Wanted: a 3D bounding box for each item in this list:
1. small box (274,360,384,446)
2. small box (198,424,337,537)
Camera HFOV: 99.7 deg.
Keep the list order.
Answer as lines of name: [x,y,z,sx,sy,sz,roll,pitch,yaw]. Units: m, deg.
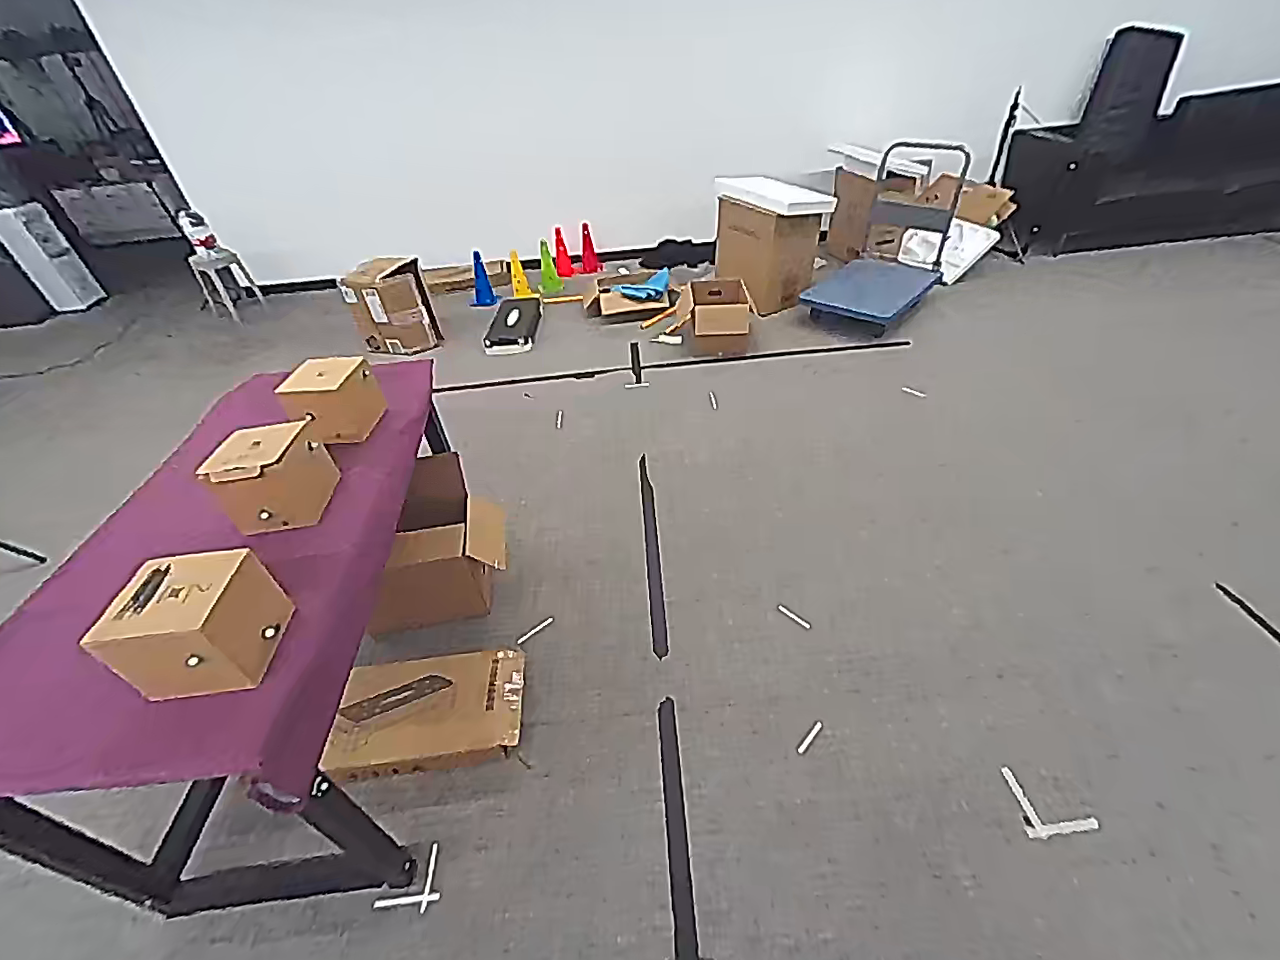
small box: [-0.817,-0.201,1.446,0.168,0.176,0.179,-3,39,4]
small box: [-0.808,0.001,1.200,0.168,0.176,0.179,-9,40,0]
